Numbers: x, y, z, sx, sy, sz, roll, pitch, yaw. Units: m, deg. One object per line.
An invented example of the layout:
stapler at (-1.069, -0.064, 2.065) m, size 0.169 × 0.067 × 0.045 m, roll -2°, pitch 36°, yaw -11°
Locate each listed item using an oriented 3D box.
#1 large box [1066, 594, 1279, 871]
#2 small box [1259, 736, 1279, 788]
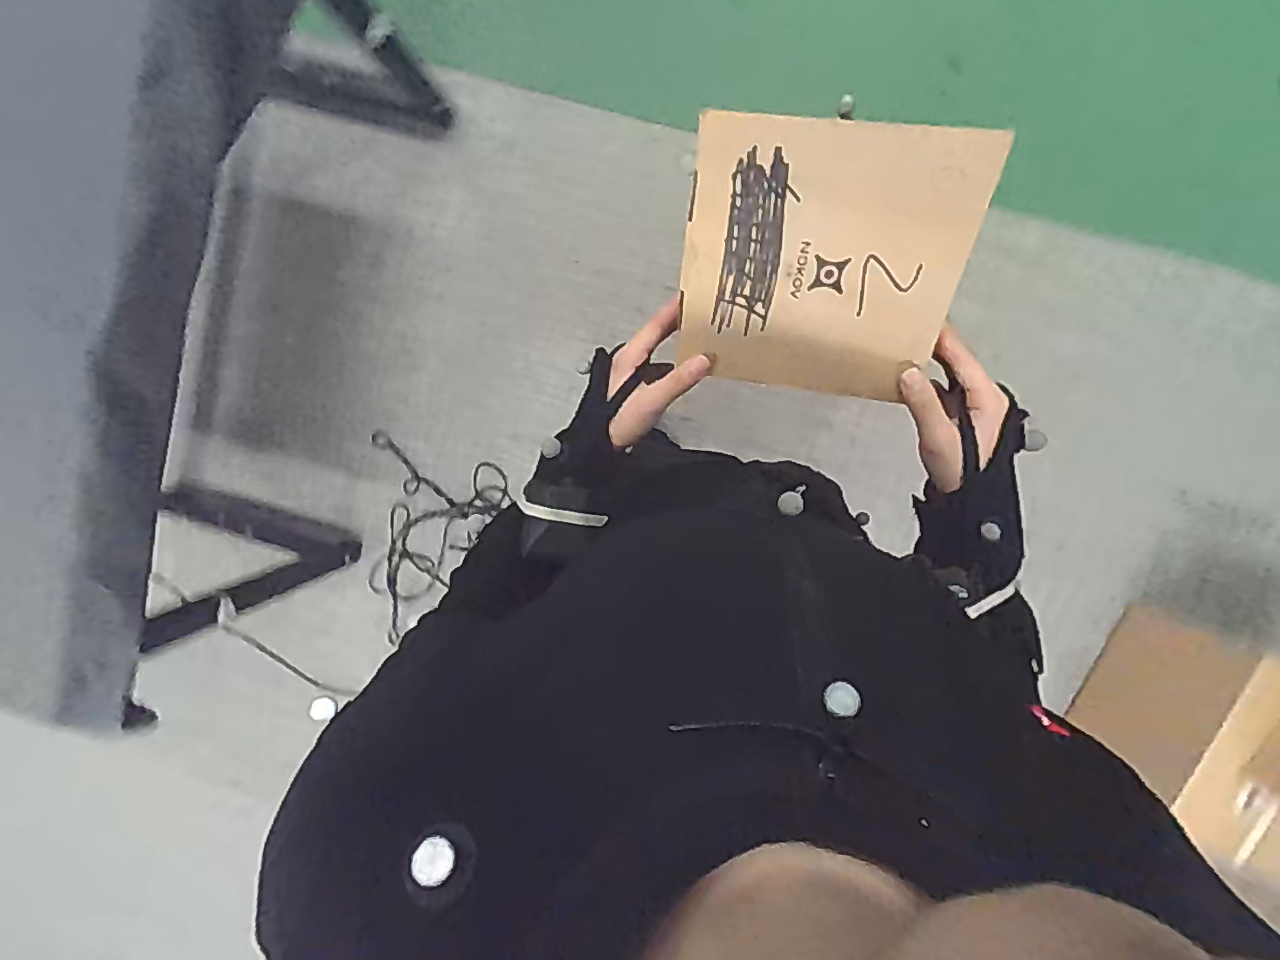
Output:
large box at (1.238, 0.517, 1.151) m, size 0.320 × 0.320 × 0.408 m, roll 21°, pitch 100°, yaw 4°
small box at (1.231, 0.507, 0.905) m, size 0.168 × 0.176 × 0.179 m, roll 27°, pitch 99°, yaw 1°
